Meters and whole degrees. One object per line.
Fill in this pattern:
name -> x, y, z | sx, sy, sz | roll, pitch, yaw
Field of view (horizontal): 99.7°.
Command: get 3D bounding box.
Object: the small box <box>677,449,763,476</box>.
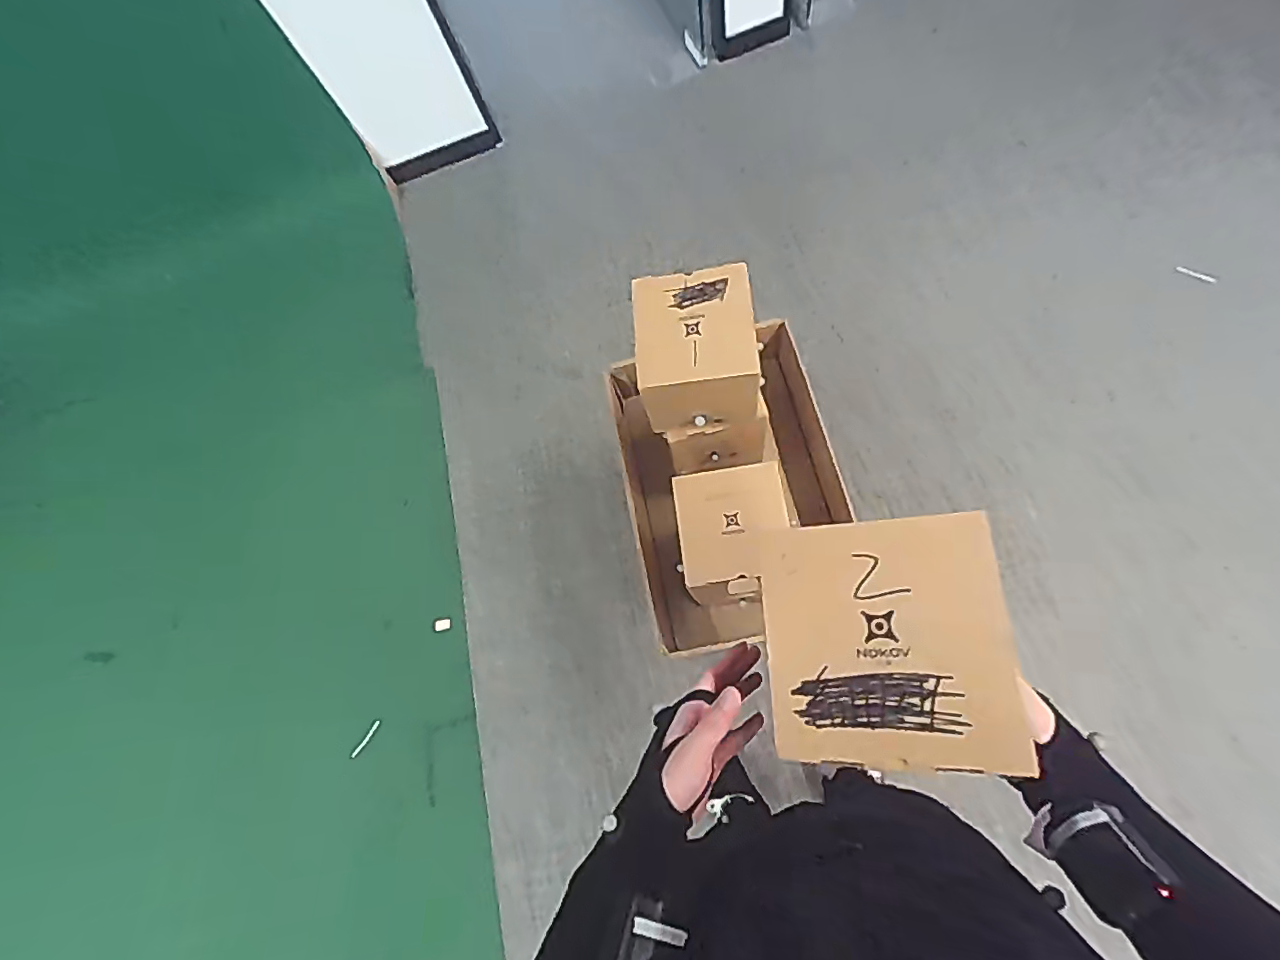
small box -> 0.151, -0.087, 1.122 | 0.168, 0.176, 0.179 | -15, 70, 7

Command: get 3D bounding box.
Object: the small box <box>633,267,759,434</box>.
small box -> 0.086, -0.187, 0.818 | 0.168, 0.176, 0.179 | -6, 72, 9

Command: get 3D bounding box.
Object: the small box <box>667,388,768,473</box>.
small box -> 0.121, -0.134, 0.970 | 0.168, 0.176, 0.179 | -15, 71, 6

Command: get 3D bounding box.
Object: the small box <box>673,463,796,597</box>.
small box -> 0.152, 0.091, 0.881 | 0.168, 0.176, 0.179 | -9, 69, 8
